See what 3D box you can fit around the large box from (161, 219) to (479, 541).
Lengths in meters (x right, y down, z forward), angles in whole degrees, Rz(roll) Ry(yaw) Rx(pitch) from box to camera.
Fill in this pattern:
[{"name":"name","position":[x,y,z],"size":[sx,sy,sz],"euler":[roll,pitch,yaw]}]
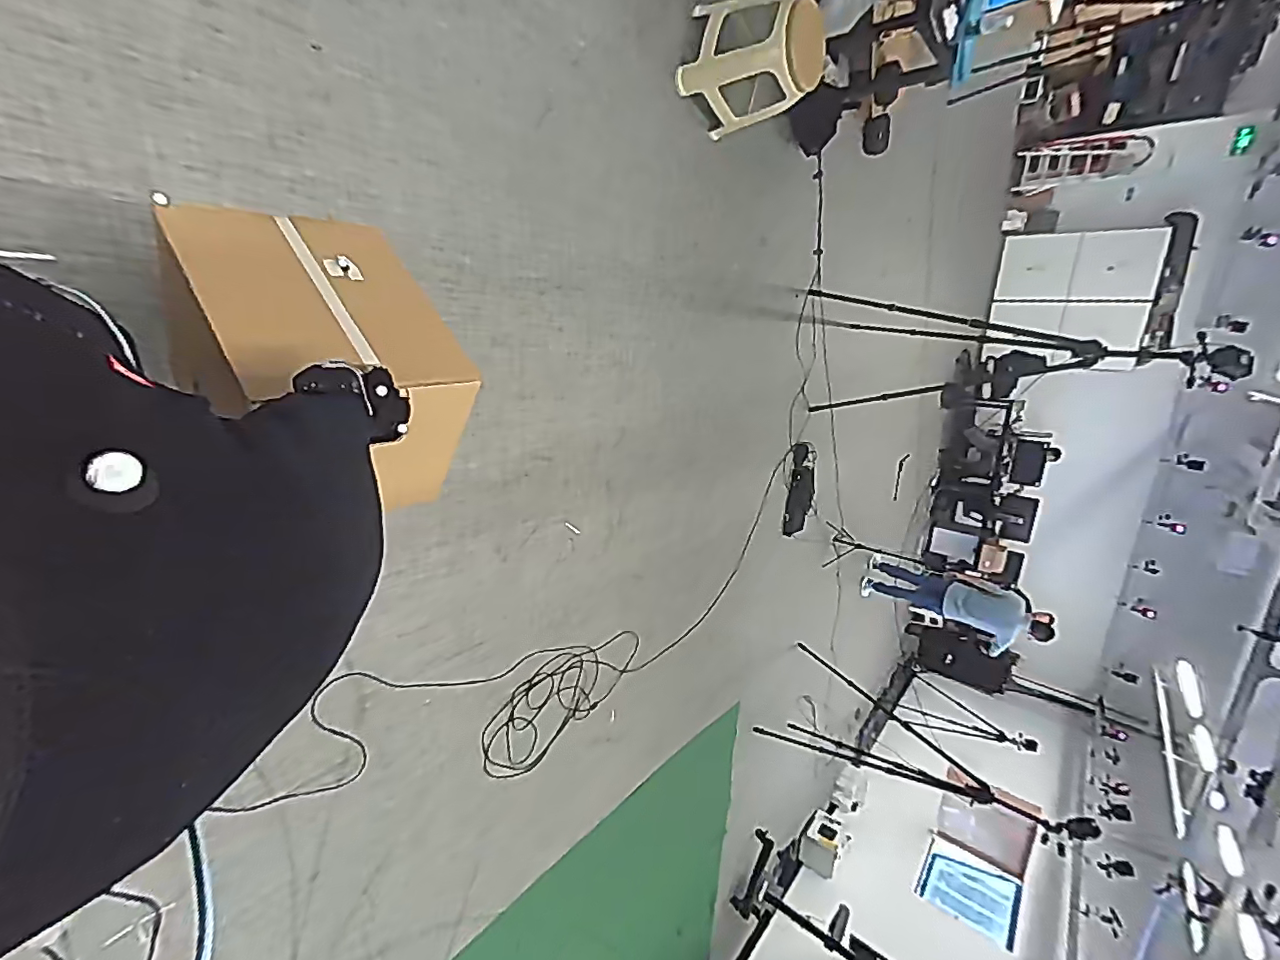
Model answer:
[{"name":"large box","position":[-0.538,-0.173,0.918],"size":[0.320,0.408,0.320],"euler":[-18,152,-45]}]
